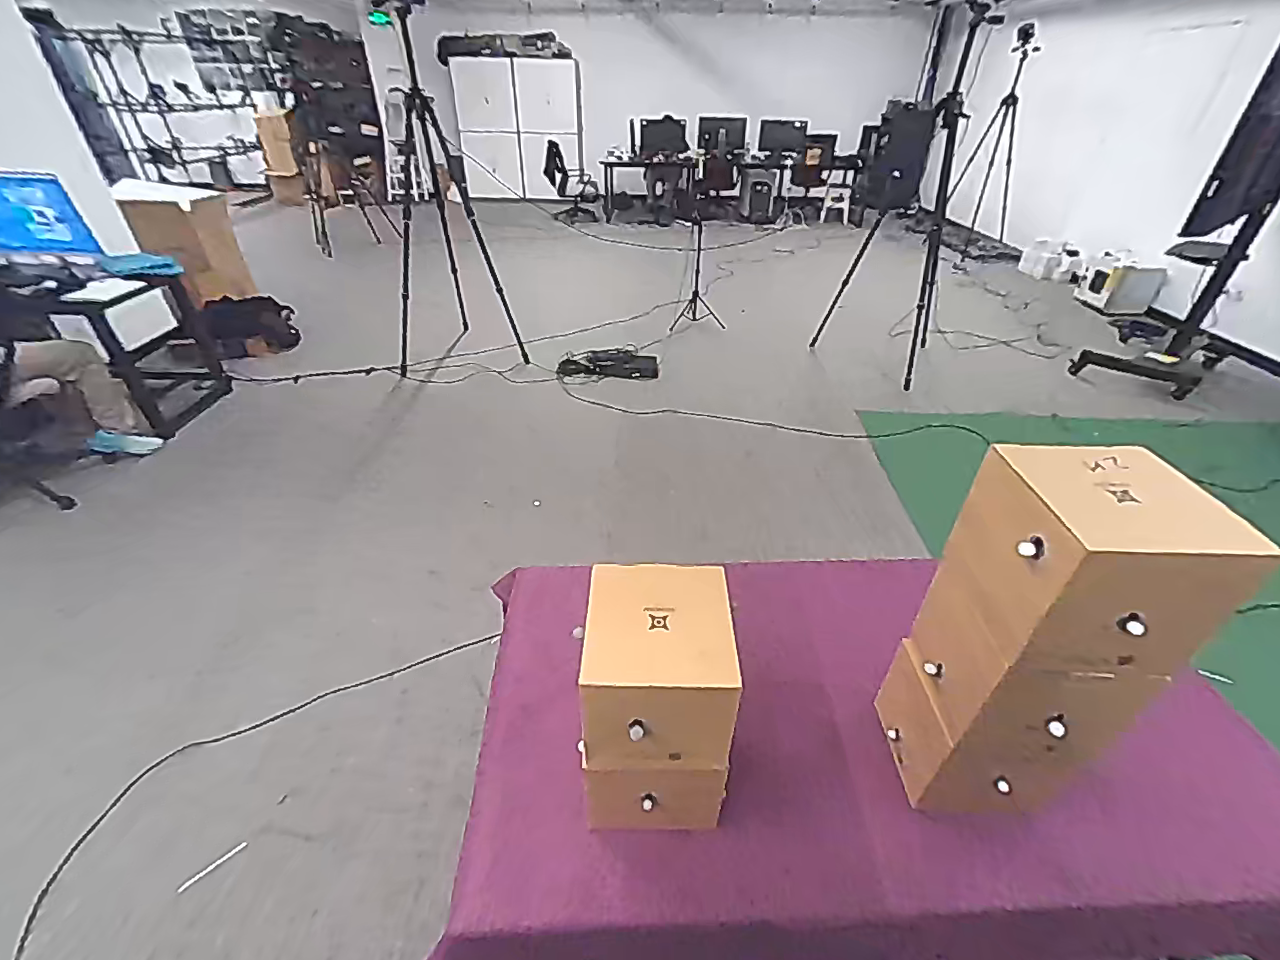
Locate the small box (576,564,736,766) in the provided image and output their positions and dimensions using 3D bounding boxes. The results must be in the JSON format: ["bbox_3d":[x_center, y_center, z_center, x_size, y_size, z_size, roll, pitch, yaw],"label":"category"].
[{"bbox_3d":[0.019,0.222,0.655,0.168,0.176,0.179,1,35,0],"label":"small box"}]

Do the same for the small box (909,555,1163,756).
[{"bbox_3d":[0.463,0.216,0.671,0.168,0.176,0.179,3,37,3],"label":"small box"}]

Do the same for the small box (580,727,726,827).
[{"bbox_3d":[0.014,0.355,0.748,0.179,0.176,0.168,0,36,0],"label":"small box"}]

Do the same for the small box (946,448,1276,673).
[{"bbox_3d":[0.462,0.083,0.573,0.168,0.176,0.179,2,35,2],"label":"small box"}]
